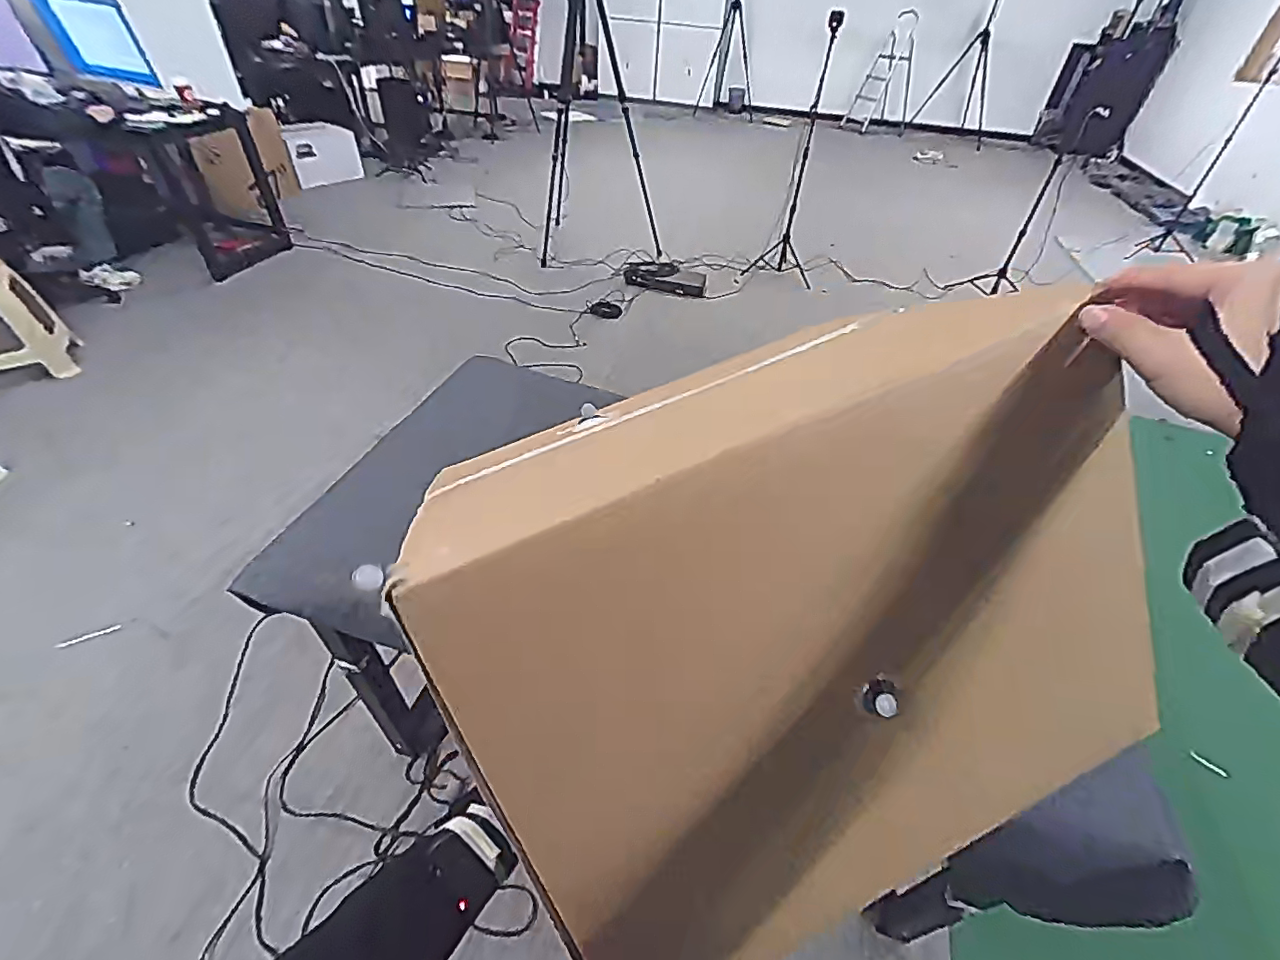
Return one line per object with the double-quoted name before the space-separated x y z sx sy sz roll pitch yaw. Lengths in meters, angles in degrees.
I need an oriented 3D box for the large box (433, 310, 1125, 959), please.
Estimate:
"large box" 0.095 0.088 0.456 0.408 0.320 0.320 -25 16 -11
